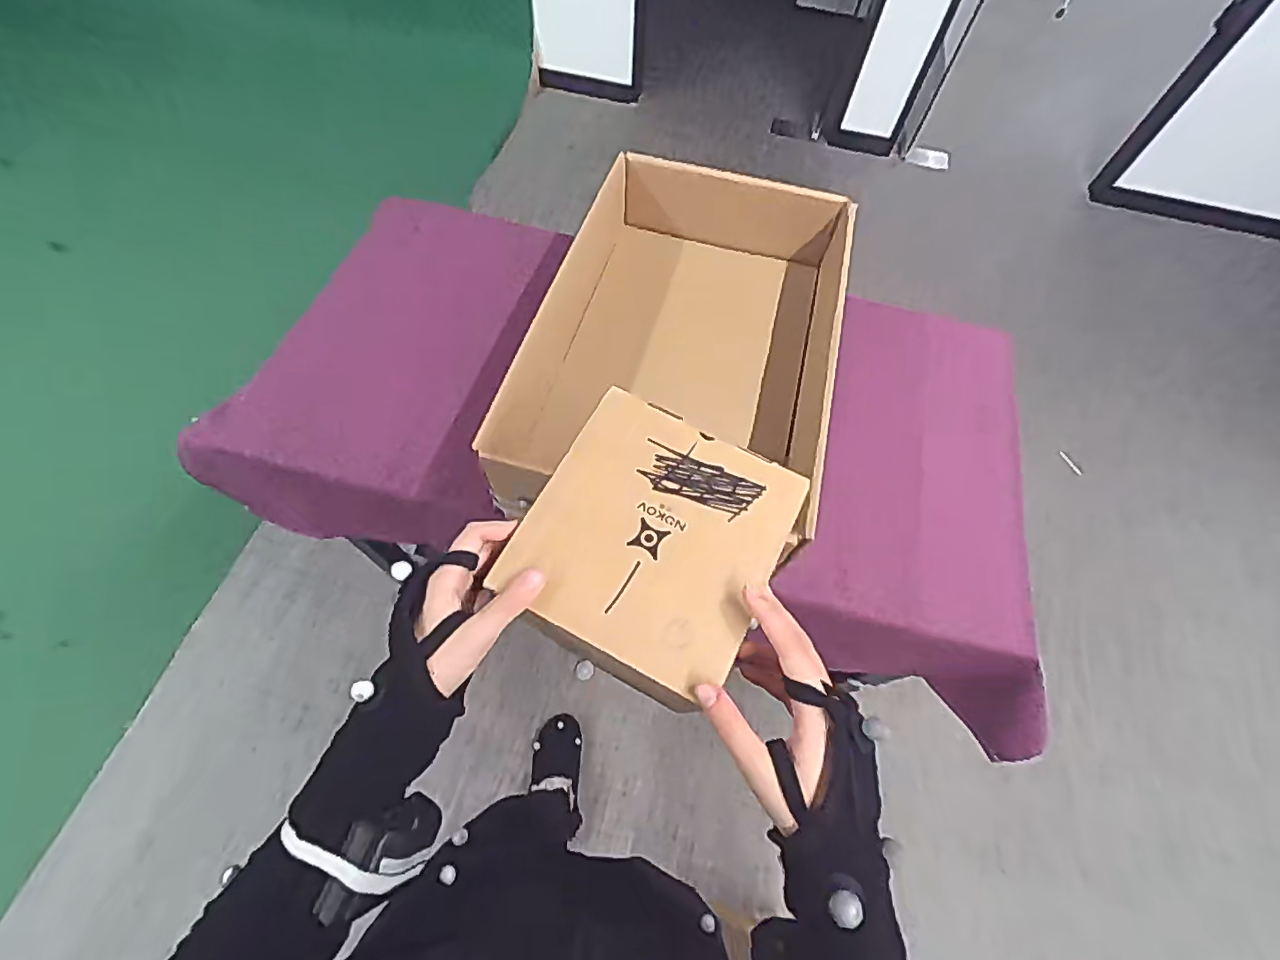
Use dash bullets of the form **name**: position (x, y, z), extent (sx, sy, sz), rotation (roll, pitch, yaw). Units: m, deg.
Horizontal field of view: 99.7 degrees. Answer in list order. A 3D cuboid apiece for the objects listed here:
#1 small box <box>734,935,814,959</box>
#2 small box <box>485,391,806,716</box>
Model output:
- **small box**: position (0.220, 0.797, 0.774), extent (0.168, 0.176, 0.179), rotation (16, 61, 5)
- **small box**: position (0.004, 0.067, 0.444), extent (0.168, 0.176, 0.179), rotation (29, 70, 9)
